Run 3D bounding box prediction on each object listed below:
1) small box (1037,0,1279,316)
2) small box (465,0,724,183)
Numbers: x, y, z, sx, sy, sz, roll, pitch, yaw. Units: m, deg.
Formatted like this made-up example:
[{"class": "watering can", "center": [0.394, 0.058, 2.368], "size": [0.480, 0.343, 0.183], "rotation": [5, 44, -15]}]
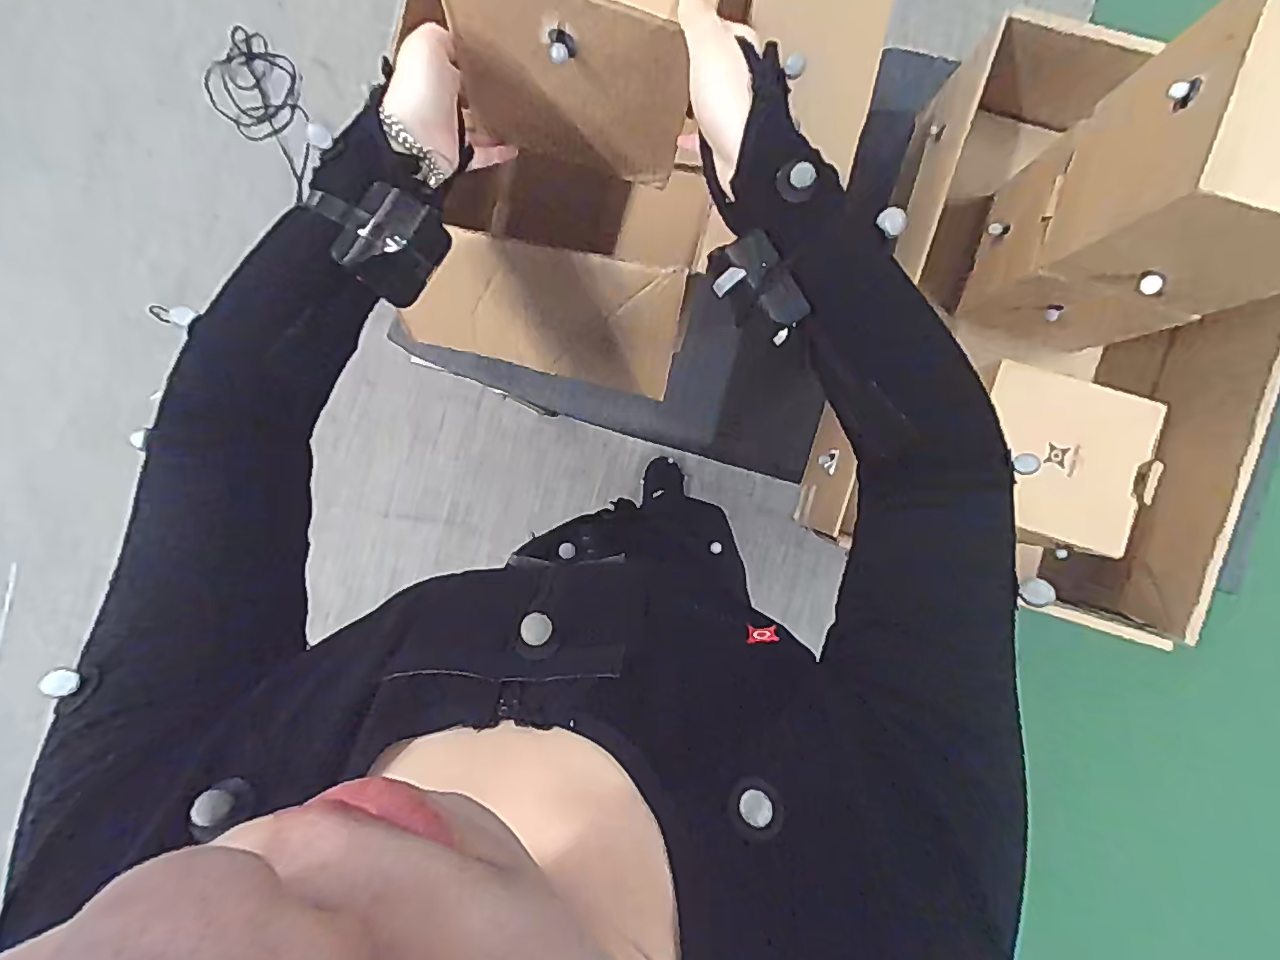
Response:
[{"class": "small box", "center": [0.505, -0.270, 0.479], "size": [0.168, 0.176, 0.179], "rotation": [18, 94, 1]}, {"class": "small box", "center": [-0.028, -0.369, 0.418], "size": [0.179, 0.176, 0.168], "rotation": [15, 85, -6]}]
